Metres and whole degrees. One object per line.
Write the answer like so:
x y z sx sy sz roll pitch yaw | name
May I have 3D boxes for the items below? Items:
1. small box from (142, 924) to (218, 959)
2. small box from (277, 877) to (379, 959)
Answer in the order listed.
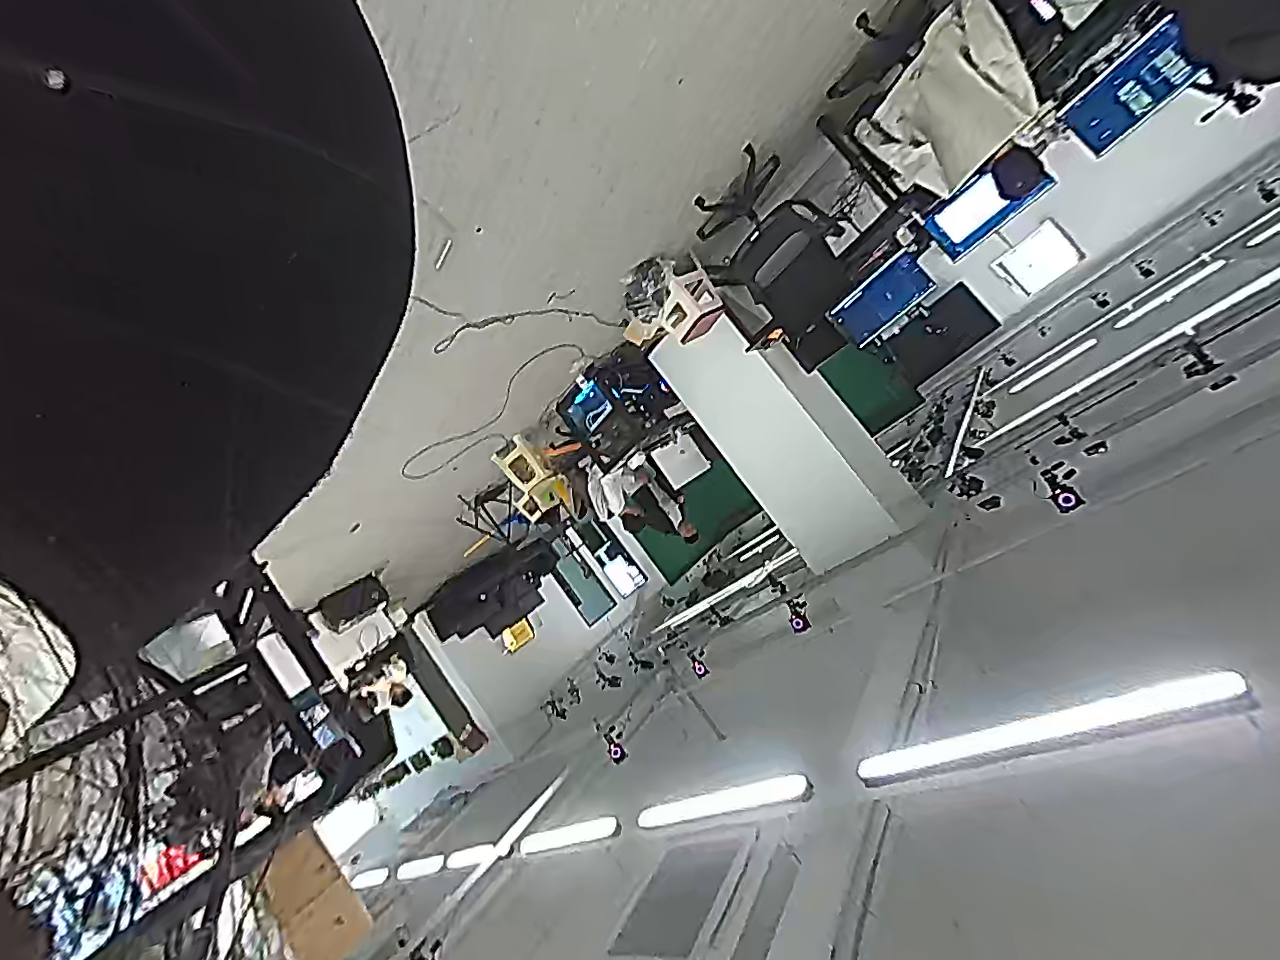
-1.110 1.191 1.271 0.179 0.176 0.168 -39 174 38 | small box
-0.856 1.229 1.477 0.179 0.176 0.168 -40 174 38 | small box
